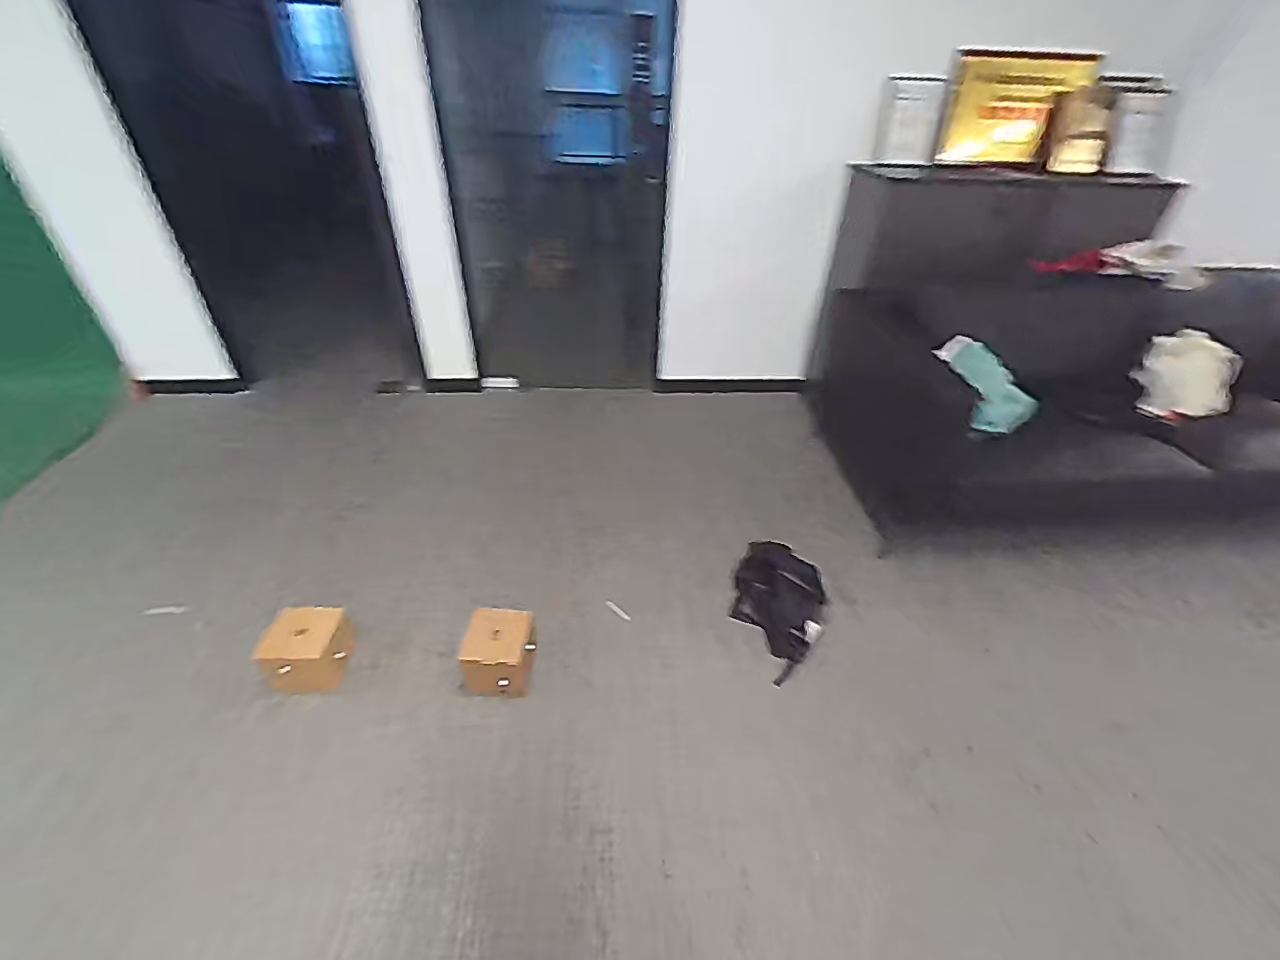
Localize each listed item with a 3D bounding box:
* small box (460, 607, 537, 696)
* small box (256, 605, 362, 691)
[{"bbox_3d":[-0.389,0.486,1.524,0.168,0.176,0.179,5,36,0],"label":"small box"},{"bbox_3d":[-0.911,0.471,1.511,0.179,0.176,0.168,1,38,-1],"label":"small box"}]
